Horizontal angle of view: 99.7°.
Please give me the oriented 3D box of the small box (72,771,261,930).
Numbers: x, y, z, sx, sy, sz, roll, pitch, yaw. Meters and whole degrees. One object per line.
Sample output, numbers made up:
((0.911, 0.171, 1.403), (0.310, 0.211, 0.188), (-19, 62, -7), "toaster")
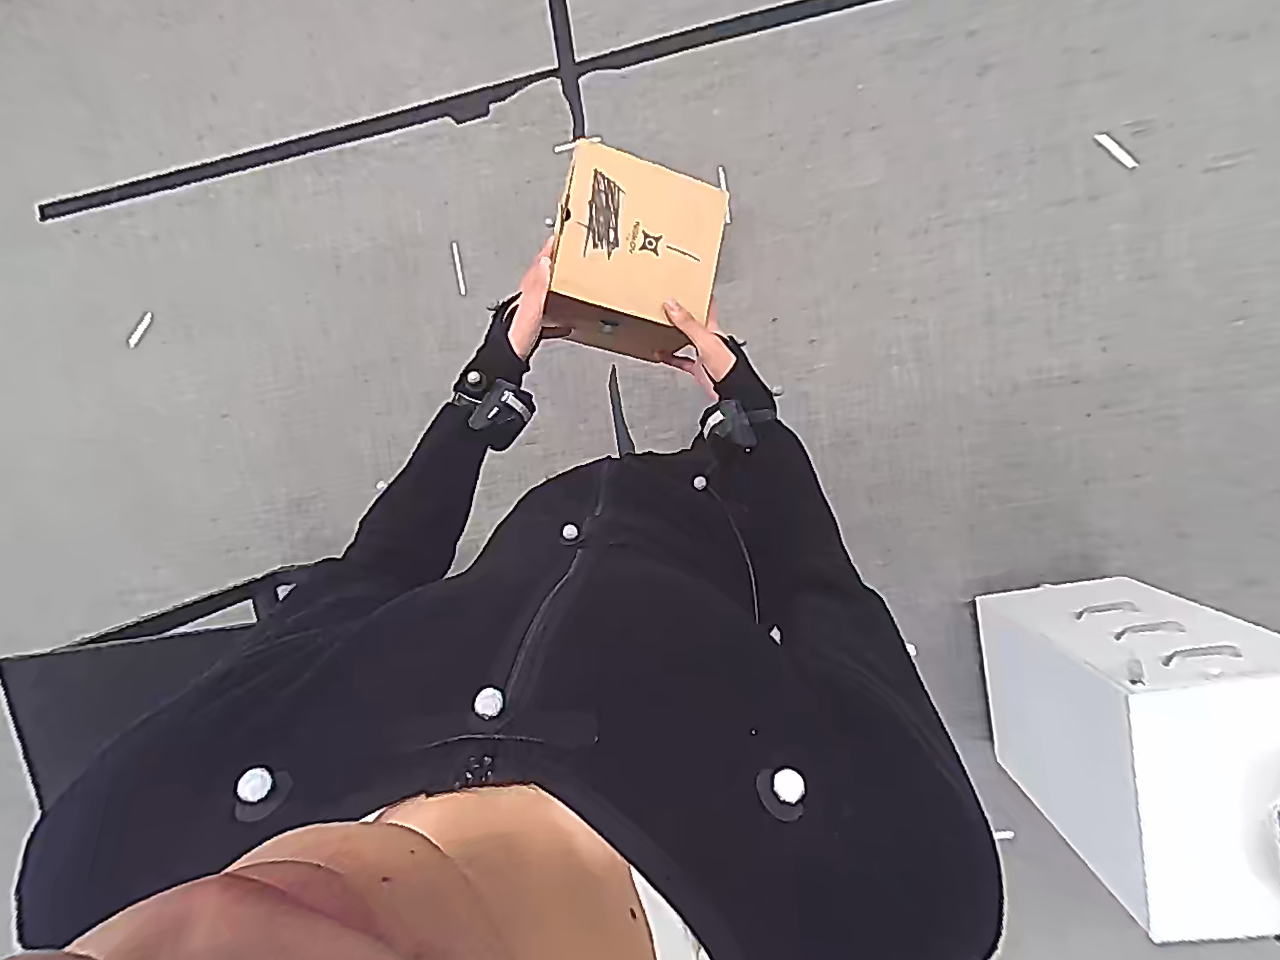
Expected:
((-0.838, 0.656, 0.973), (0.179, 0.176, 0.168), (-9, 96, 7), "small box")

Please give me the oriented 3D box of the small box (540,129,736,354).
((-0.014, -0.259, 0.638), (0.179, 0.176, 0.168), (12, 88, -17), "small box")
